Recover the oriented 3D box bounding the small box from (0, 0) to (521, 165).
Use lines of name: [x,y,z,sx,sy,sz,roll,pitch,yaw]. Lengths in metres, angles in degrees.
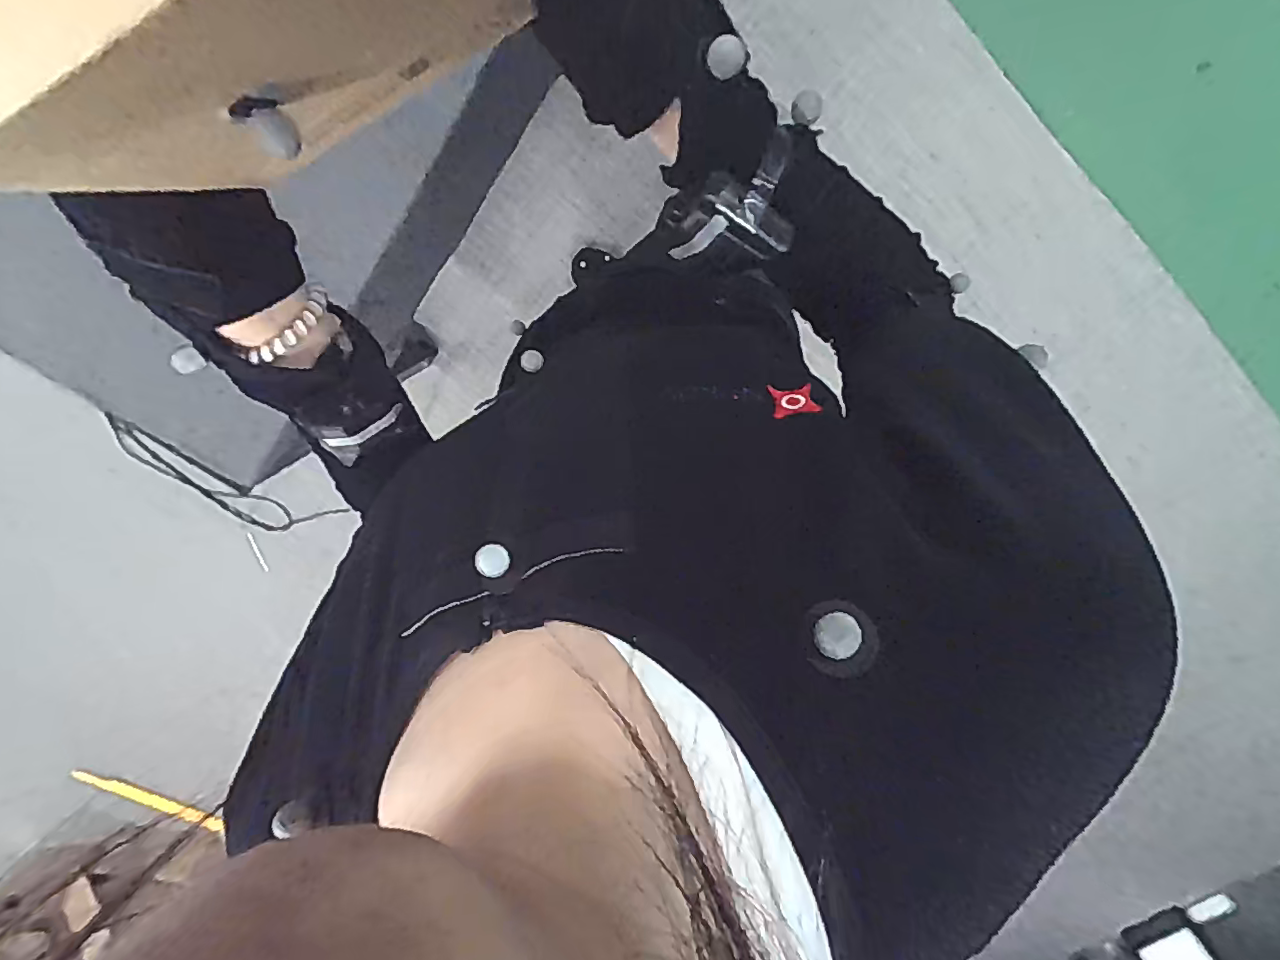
small box: [-0.147,-0.217,0.152,0.168,0.176,0.179,-24,117,10]
